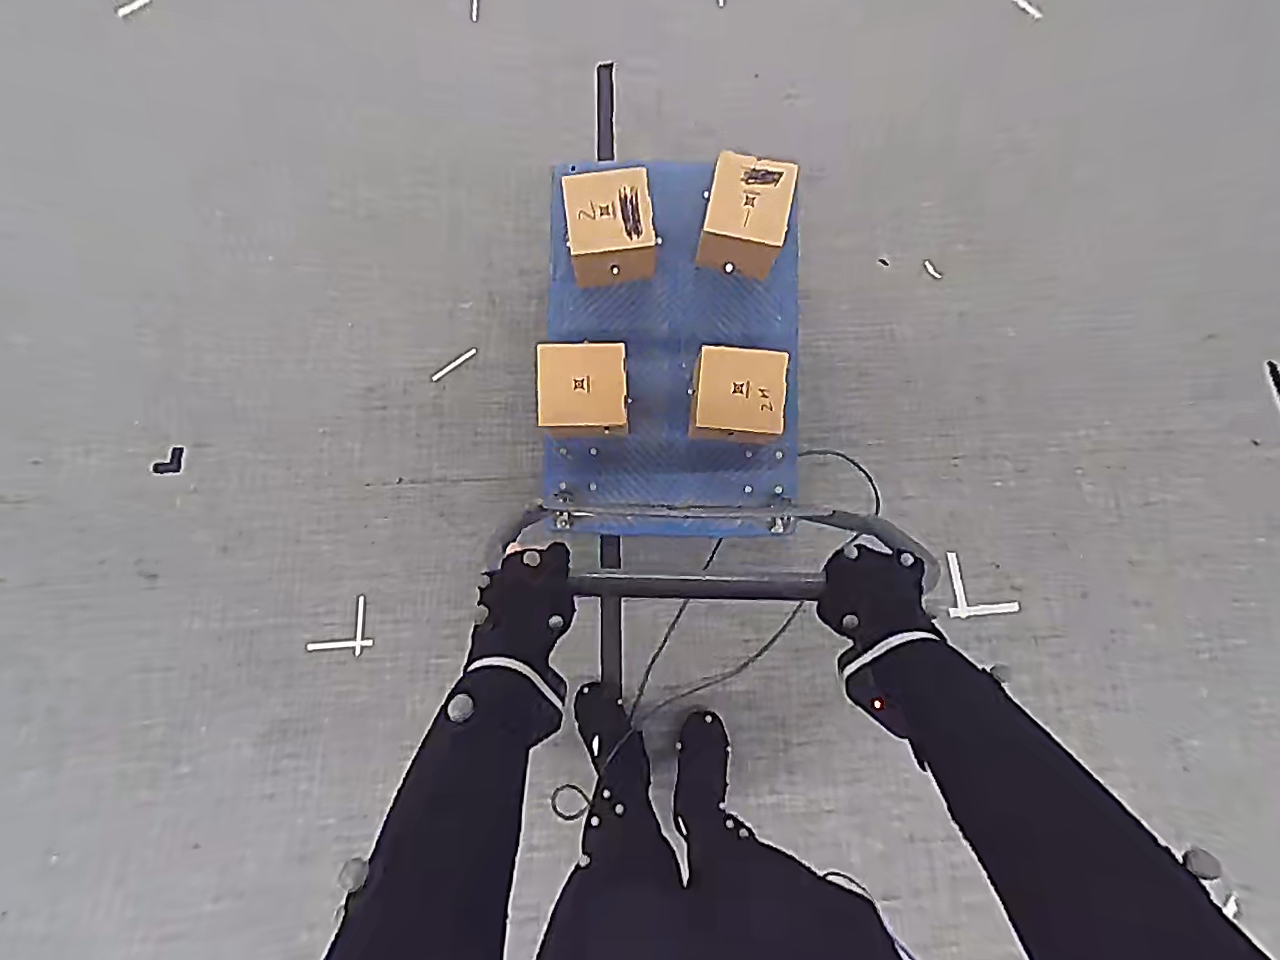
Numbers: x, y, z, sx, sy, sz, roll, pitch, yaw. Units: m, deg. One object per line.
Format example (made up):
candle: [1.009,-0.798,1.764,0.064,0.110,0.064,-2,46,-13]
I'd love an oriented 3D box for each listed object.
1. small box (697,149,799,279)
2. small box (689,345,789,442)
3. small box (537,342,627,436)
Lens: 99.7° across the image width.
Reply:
small box: [0.224,-0.565,1.167,0.168,0.176,0.179,12,88,0]
small box: [0.201,-0.175,1.144,0.179,0.176,0.168,5,87,0]
small box: [-0.117,-0.185,1.143,0.179,0.176,0.168,-1,87,-2]
